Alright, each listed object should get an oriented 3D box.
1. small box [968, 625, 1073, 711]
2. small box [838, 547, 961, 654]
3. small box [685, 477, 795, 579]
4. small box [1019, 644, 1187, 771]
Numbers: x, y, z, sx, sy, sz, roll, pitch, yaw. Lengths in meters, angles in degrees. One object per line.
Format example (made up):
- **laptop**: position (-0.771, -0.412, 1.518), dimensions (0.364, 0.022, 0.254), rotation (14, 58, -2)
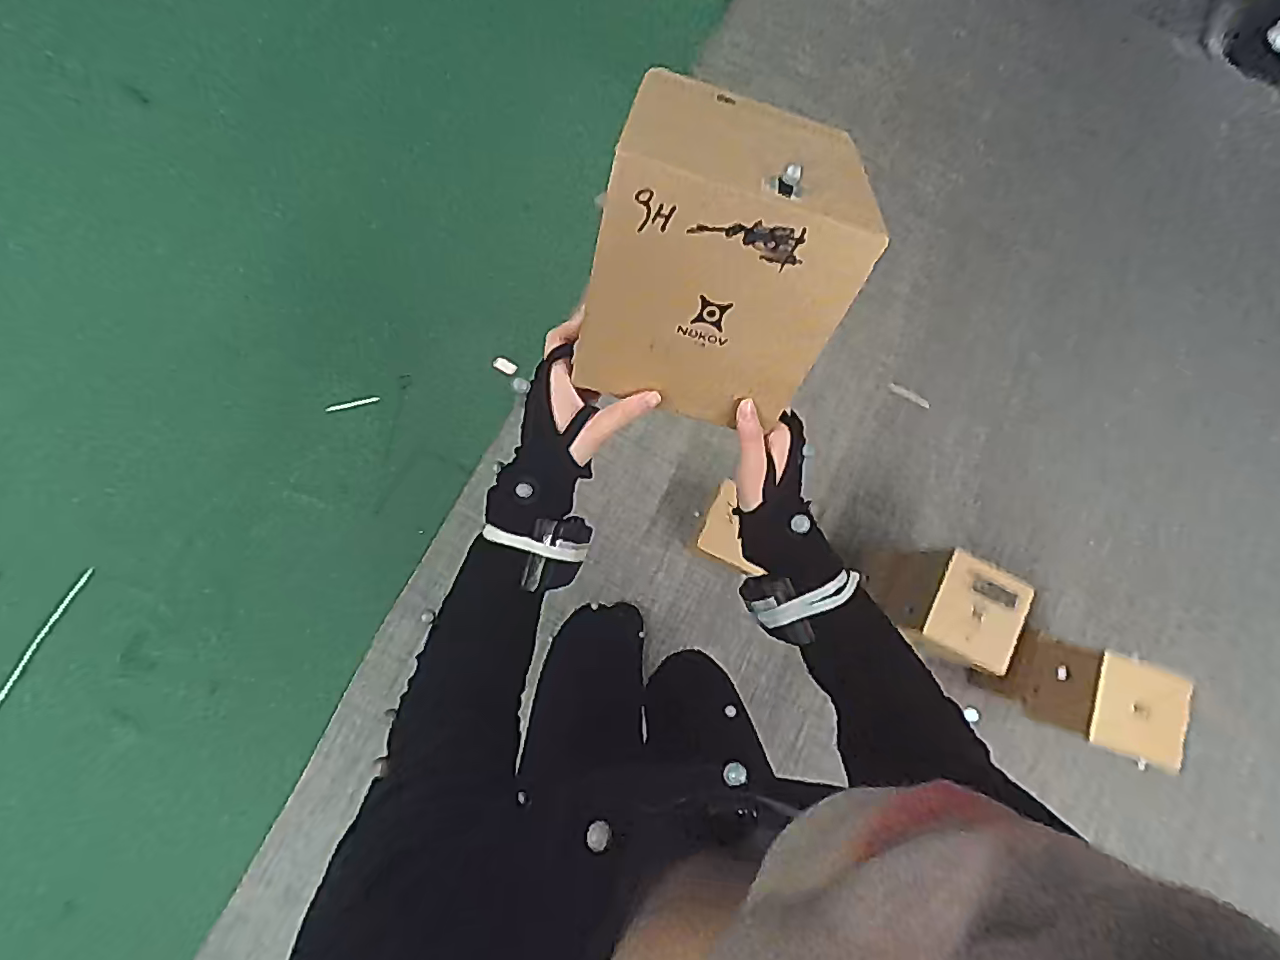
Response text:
- **small box**: position (0.887, 0.440, 1.219), dimensions (0.179, 0.176, 0.168), rotation (25, 82, 1)
- **small box**: position (0.578, 0.268, 1.231), dimensions (0.168, 0.176, 0.179), rotation (27, 80, 1)
- **small box**: position (0.221, 0.112, 1.238), dimensions (0.179, 0.176, 0.168), rotation (26, 80, 1)
- **small box**: position (0.890, 0.431, 1.057), dimensions (0.179, 0.176, 0.168), rotation (20, 81, 0)
